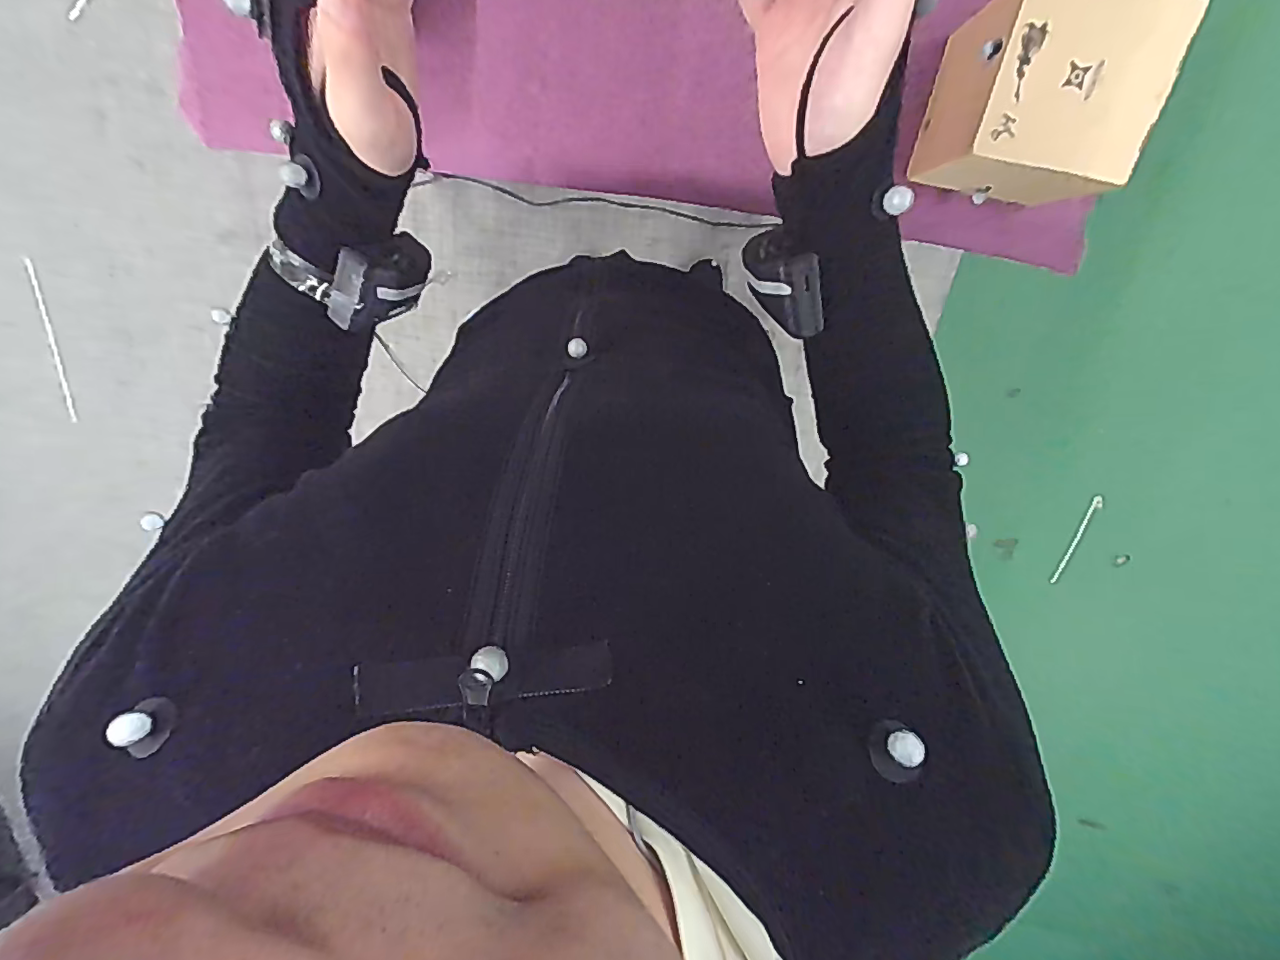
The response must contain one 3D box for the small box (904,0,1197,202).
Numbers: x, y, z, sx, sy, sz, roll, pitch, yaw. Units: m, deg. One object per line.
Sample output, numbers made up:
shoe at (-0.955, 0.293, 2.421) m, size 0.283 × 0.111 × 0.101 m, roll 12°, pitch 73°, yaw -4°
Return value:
small box at (0.447, -0.433, 0.626) m, size 0.179 × 0.176 × 0.168 m, roll 11°, pitch 110°, yaw -2°
